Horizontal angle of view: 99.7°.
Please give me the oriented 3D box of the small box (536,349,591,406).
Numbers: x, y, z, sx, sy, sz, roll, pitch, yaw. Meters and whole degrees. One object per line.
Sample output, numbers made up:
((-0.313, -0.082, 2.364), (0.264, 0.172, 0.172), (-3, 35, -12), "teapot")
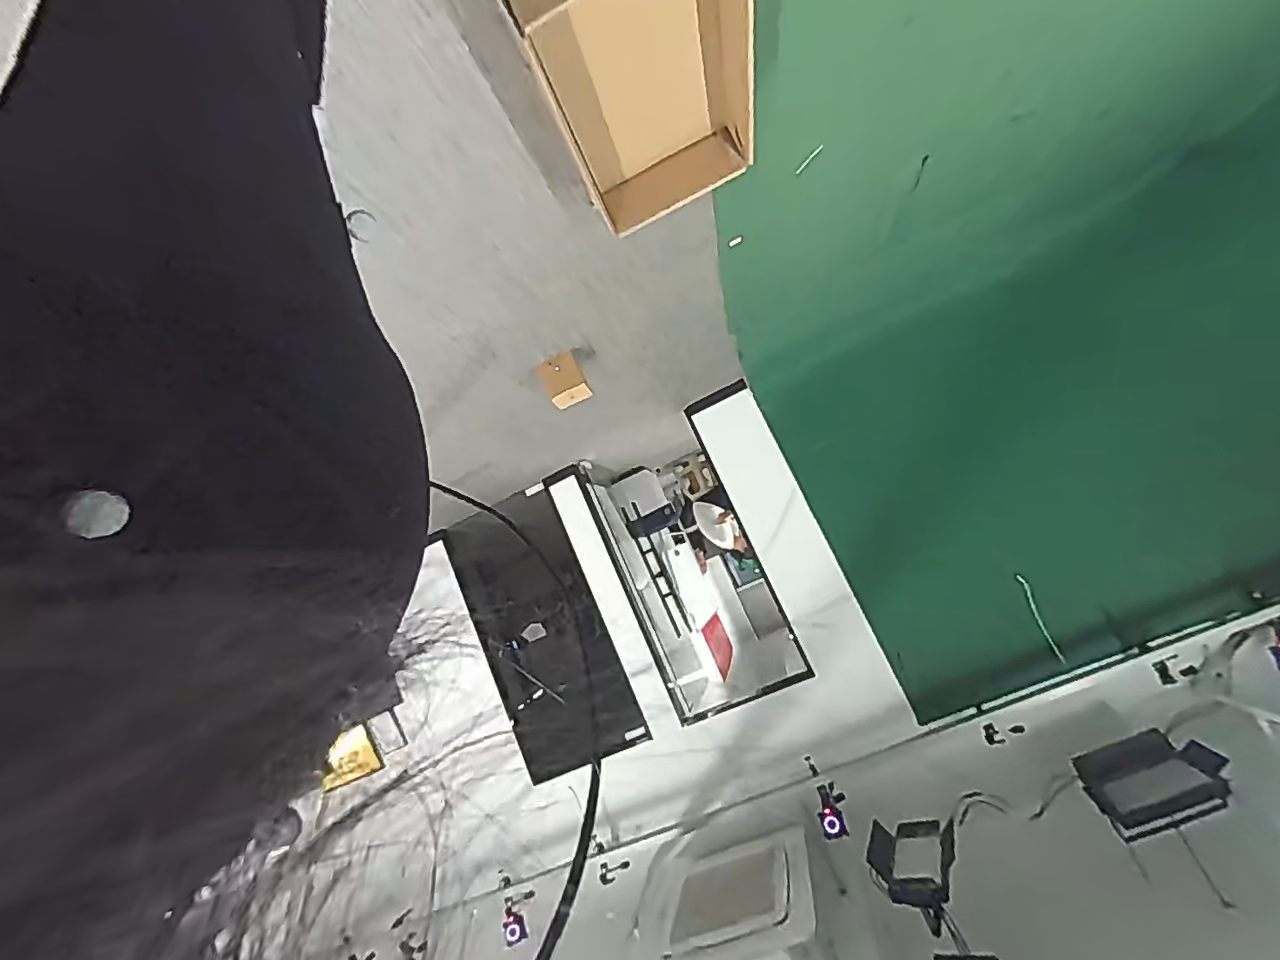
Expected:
((-0.336, -0.455, 2.395), (0.168, 0.176, 0.179), (-25, 170, 3), "small box")
